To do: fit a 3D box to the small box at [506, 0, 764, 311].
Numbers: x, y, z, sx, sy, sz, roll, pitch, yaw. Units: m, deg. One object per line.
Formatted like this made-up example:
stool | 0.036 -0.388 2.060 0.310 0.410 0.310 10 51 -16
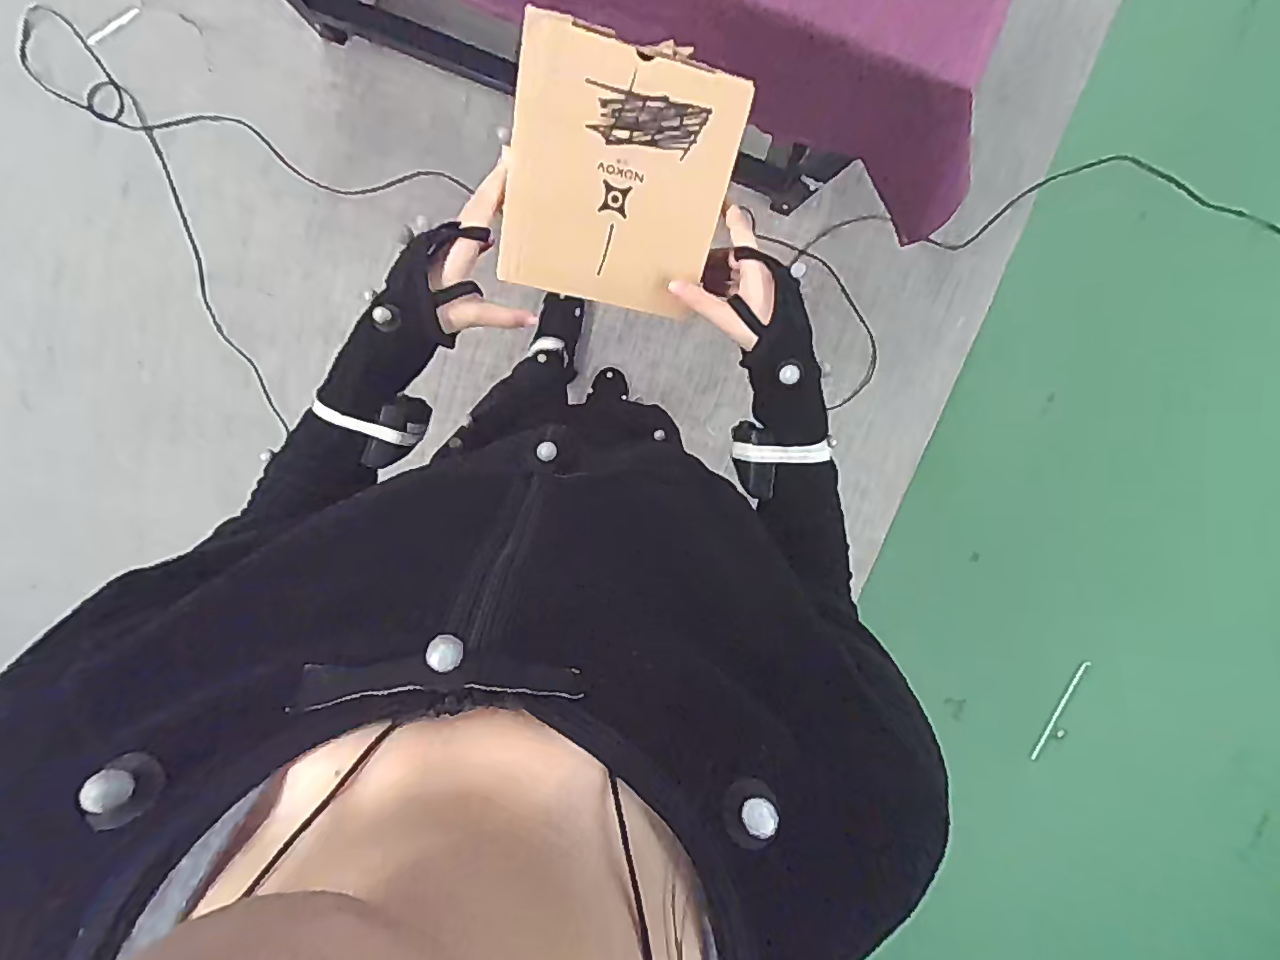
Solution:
small box | -0.019 -0.272 0.475 0.168 0.176 0.179 9 120 -13
